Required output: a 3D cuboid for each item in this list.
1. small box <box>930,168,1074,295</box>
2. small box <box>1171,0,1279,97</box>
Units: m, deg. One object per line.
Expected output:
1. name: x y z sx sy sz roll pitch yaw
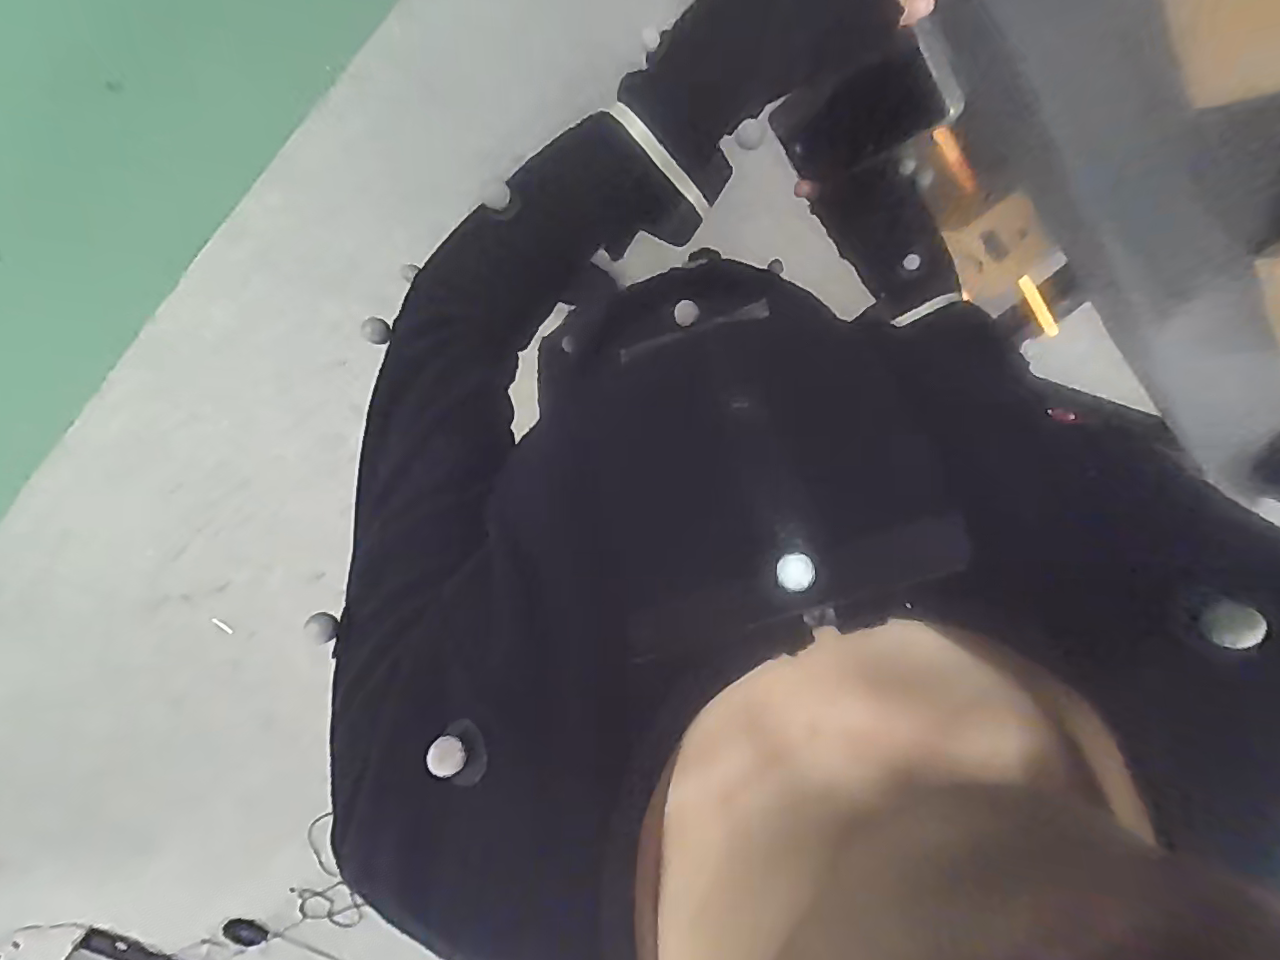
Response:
1. small box: 0.753 -0.522 1.150 0.179 0.176 0.168 -37 111 13
2. small box: 0.626 -0.487 0.475 0.168 0.176 0.179 -37 111 13
